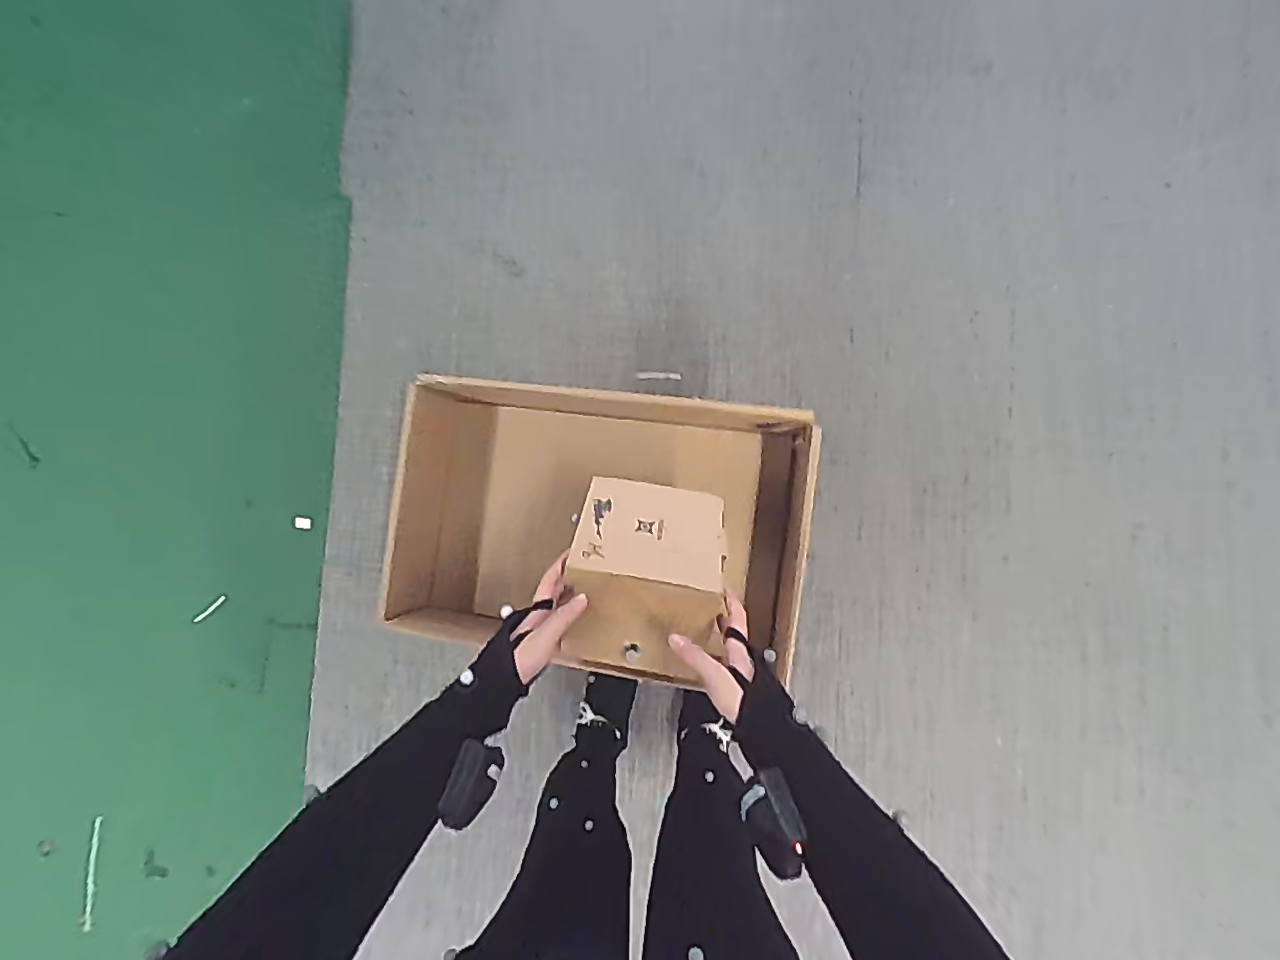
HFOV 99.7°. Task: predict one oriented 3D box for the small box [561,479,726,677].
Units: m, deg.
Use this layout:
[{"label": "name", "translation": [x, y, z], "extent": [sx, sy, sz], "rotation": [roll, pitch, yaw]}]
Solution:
[{"label": "small box", "translation": [0.005, 0.125, 0.684], "extent": [0.179, 0.168, 0.176], "rotation": [10, 128, 2]}]
